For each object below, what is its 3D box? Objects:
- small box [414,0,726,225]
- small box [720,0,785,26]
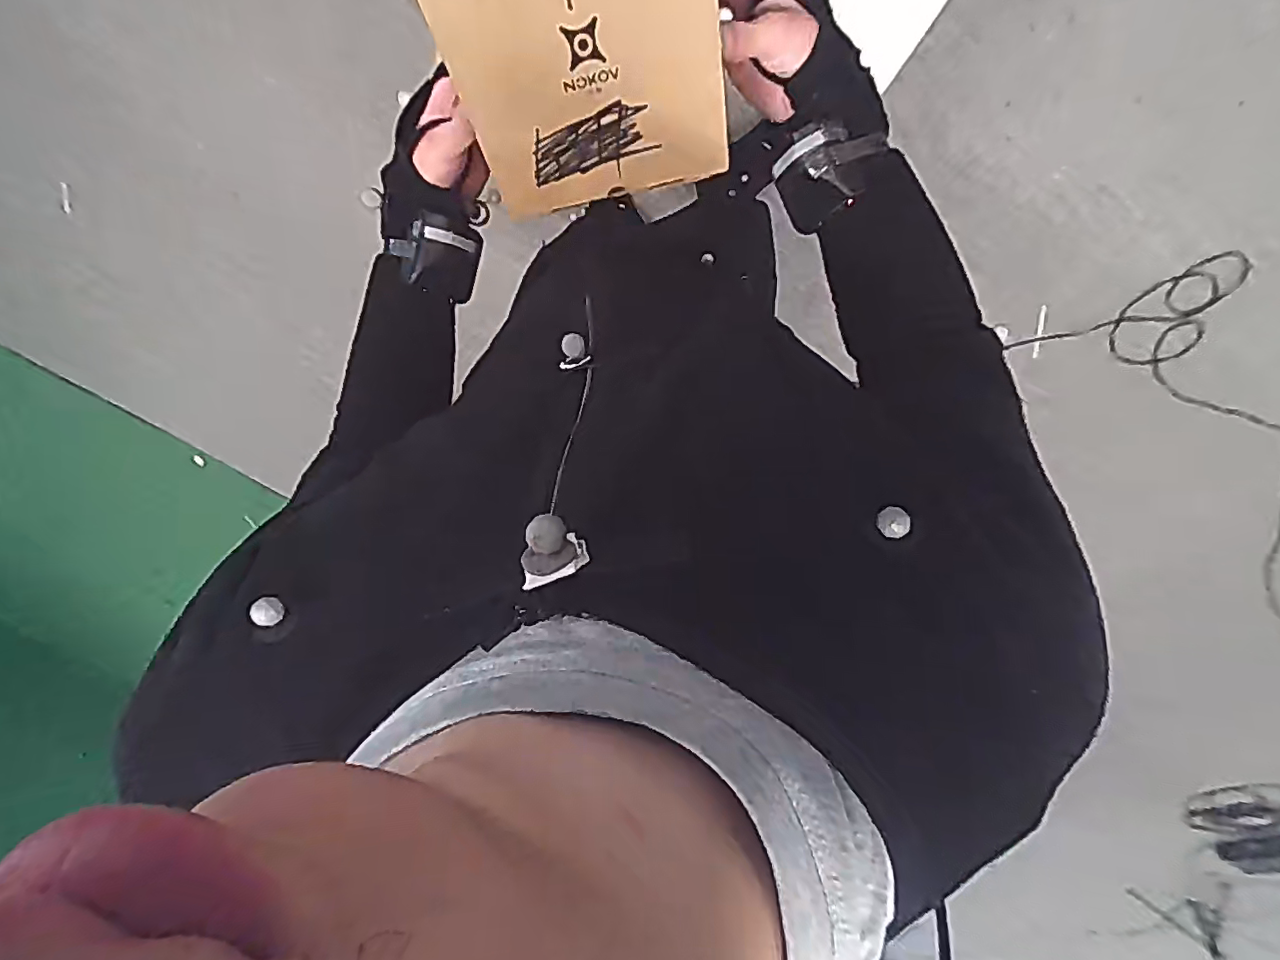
[{"bbox_3d":[-0.041,-0.318,0.371,0.168,0.176,0.179,-12,145,8],"label":"small box"},{"bbox_3d":[0.101,-0.569,0.502,0.168,0.176,0.179,27,128,-6],"label":"small box"}]
